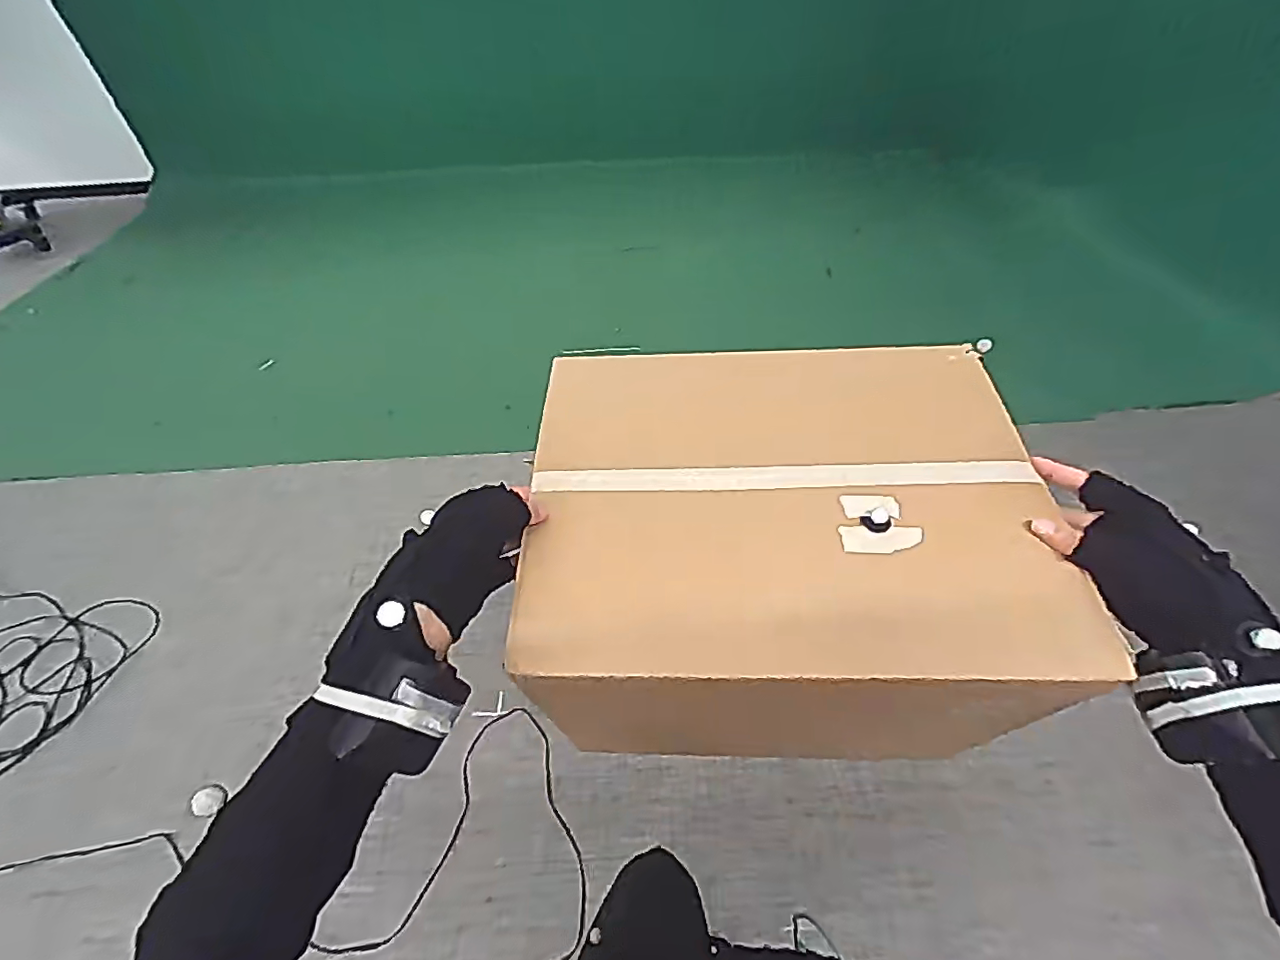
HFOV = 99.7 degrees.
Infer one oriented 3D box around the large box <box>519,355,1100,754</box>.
[{"bbox_3d":[0.120,0.094,0.575,0.408,0.320,0.320,-1,55,4],"label":"large box"}]
